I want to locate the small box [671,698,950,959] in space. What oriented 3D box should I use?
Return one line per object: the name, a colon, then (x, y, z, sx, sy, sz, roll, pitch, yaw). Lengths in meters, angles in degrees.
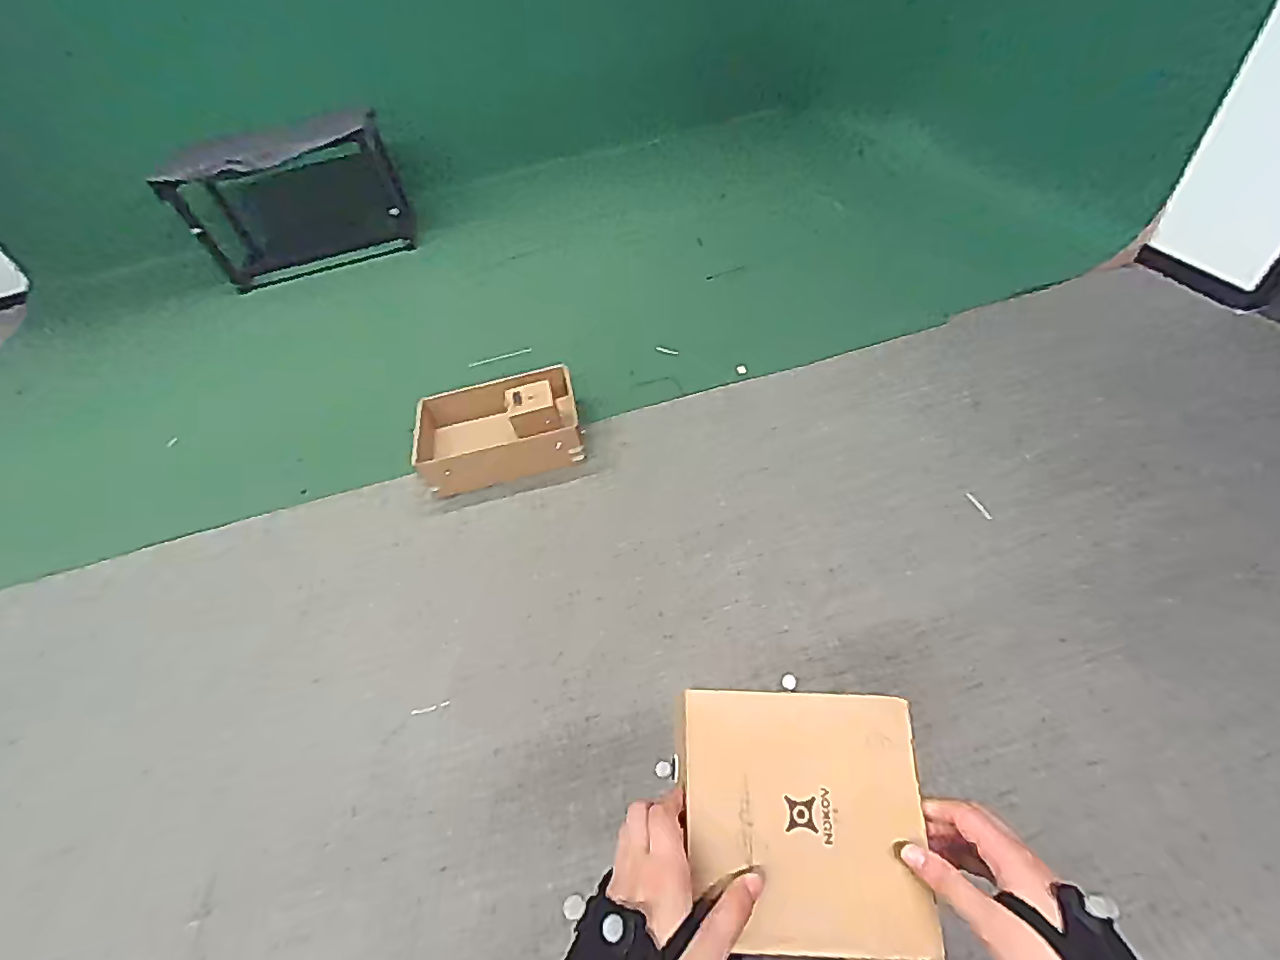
small box: (0.119, 0.276, 0.457, 0.179, 0.176, 0.168, 0, 66, 1)
